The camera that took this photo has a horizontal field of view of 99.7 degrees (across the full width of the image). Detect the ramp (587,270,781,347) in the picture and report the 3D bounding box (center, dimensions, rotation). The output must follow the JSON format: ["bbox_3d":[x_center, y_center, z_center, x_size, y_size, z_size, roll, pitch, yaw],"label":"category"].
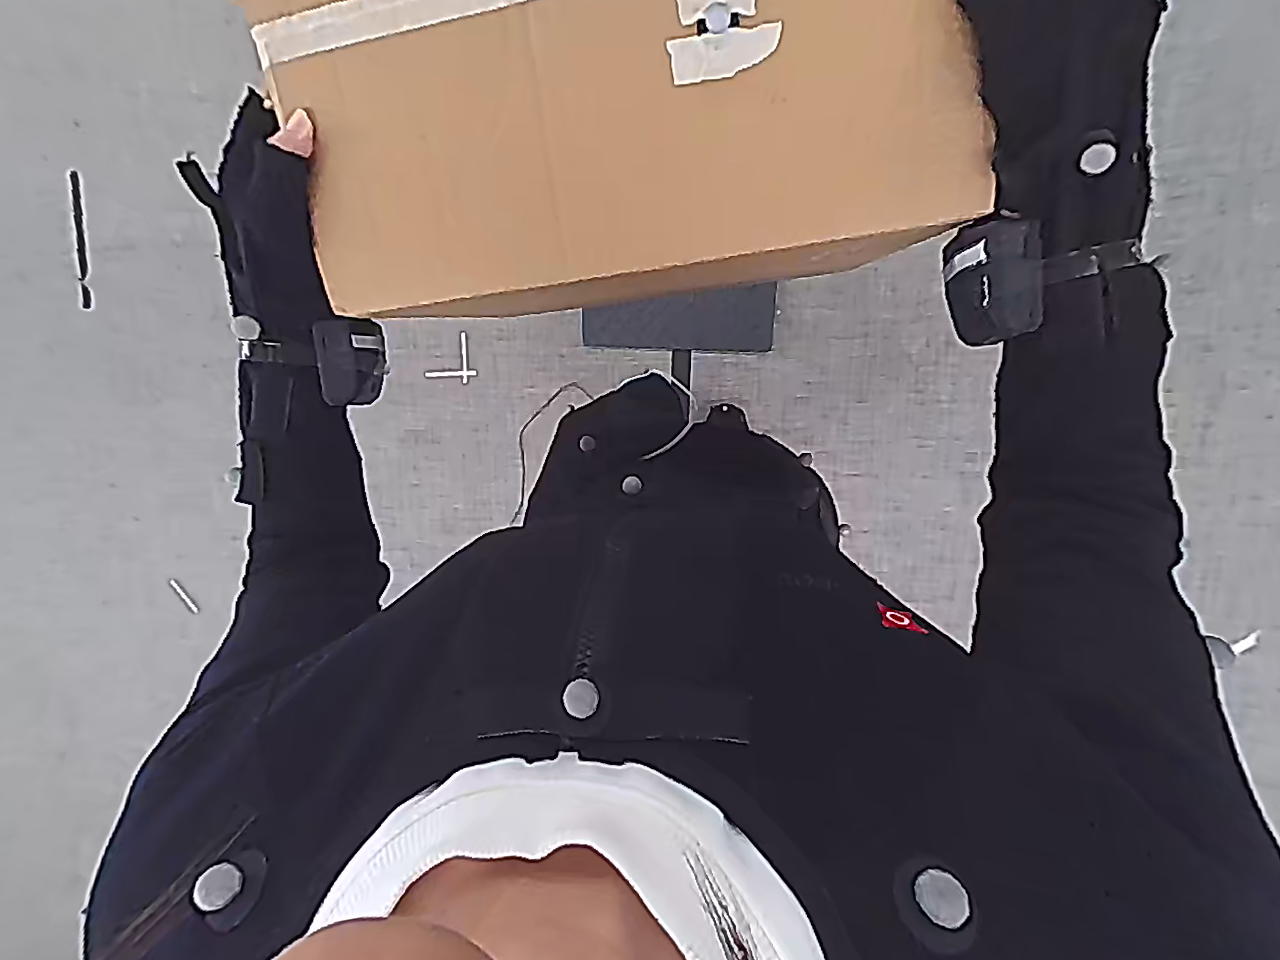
[{"bbox_3d":[0.107,-0.824,1.249,0.509,0.206,0.991,2,98,9],"label":"ramp"}]

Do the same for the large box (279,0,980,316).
[{"bbox_3d":[-0.004,-0.326,0.445,0.408,0.320,0.320,-6,106,10],"label":"large box"}]
